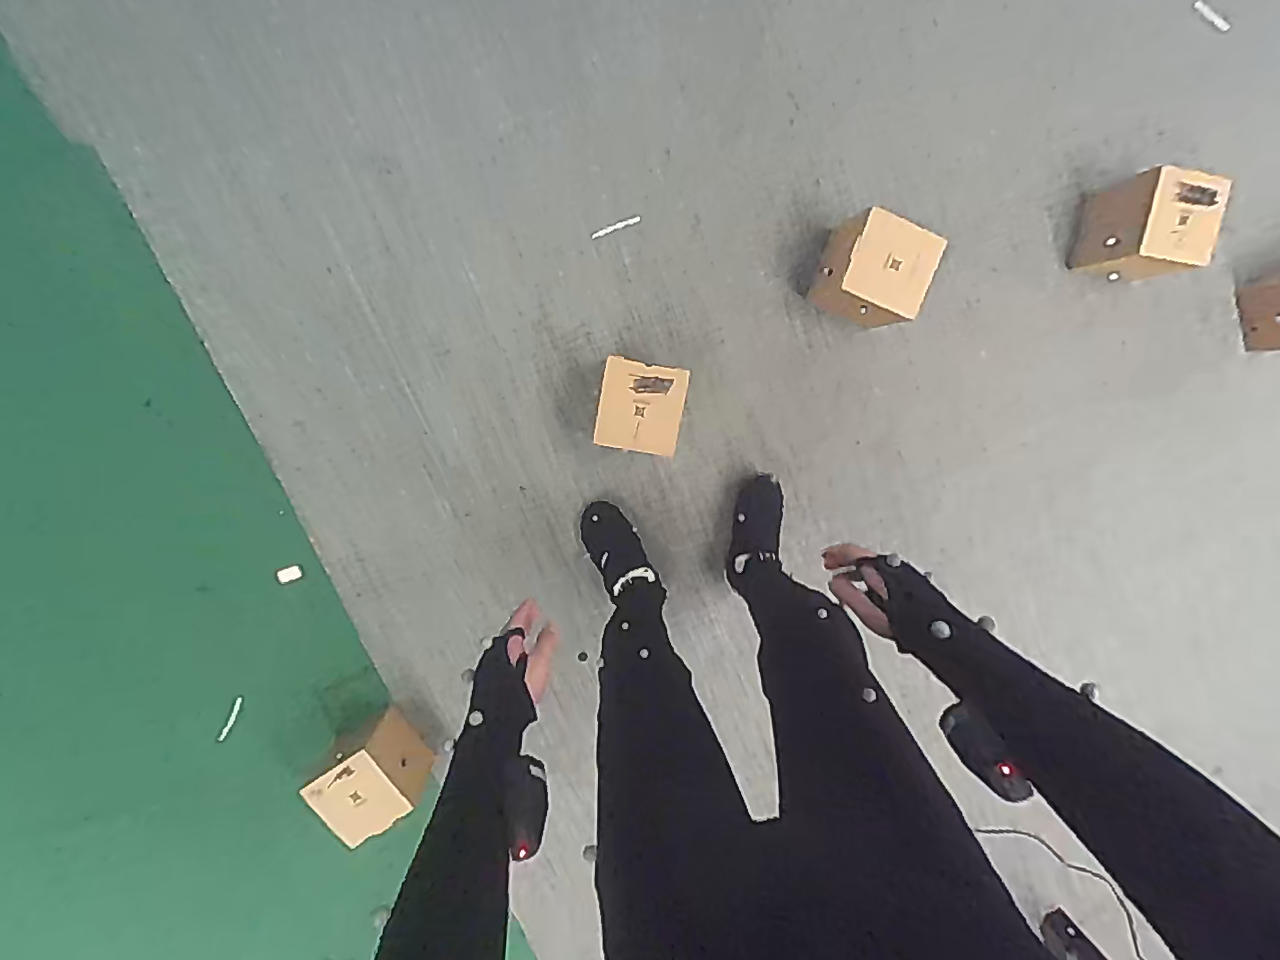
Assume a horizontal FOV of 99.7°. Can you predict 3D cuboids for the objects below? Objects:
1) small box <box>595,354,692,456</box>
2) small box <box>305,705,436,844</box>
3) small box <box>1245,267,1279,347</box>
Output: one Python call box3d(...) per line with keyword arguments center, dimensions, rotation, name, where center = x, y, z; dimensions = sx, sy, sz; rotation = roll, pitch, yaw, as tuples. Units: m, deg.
box3d(center=(-0.002, -0.157, 1.133), dimensions=(0.168, 0.176, 0.179), rotation=(9, 99, -7), name="small box")
box3d(center=(-0.587, 0.648, 1.208), dimensions=(0.168, 0.176, 0.179), rotation=(-33, 101, 1), name="small box")
box3d(center=(1.568, -0.419, 1.249), dimensions=(0.179, 0.176, 0.168), rotation=(-26, 102, -1), name="small box")
